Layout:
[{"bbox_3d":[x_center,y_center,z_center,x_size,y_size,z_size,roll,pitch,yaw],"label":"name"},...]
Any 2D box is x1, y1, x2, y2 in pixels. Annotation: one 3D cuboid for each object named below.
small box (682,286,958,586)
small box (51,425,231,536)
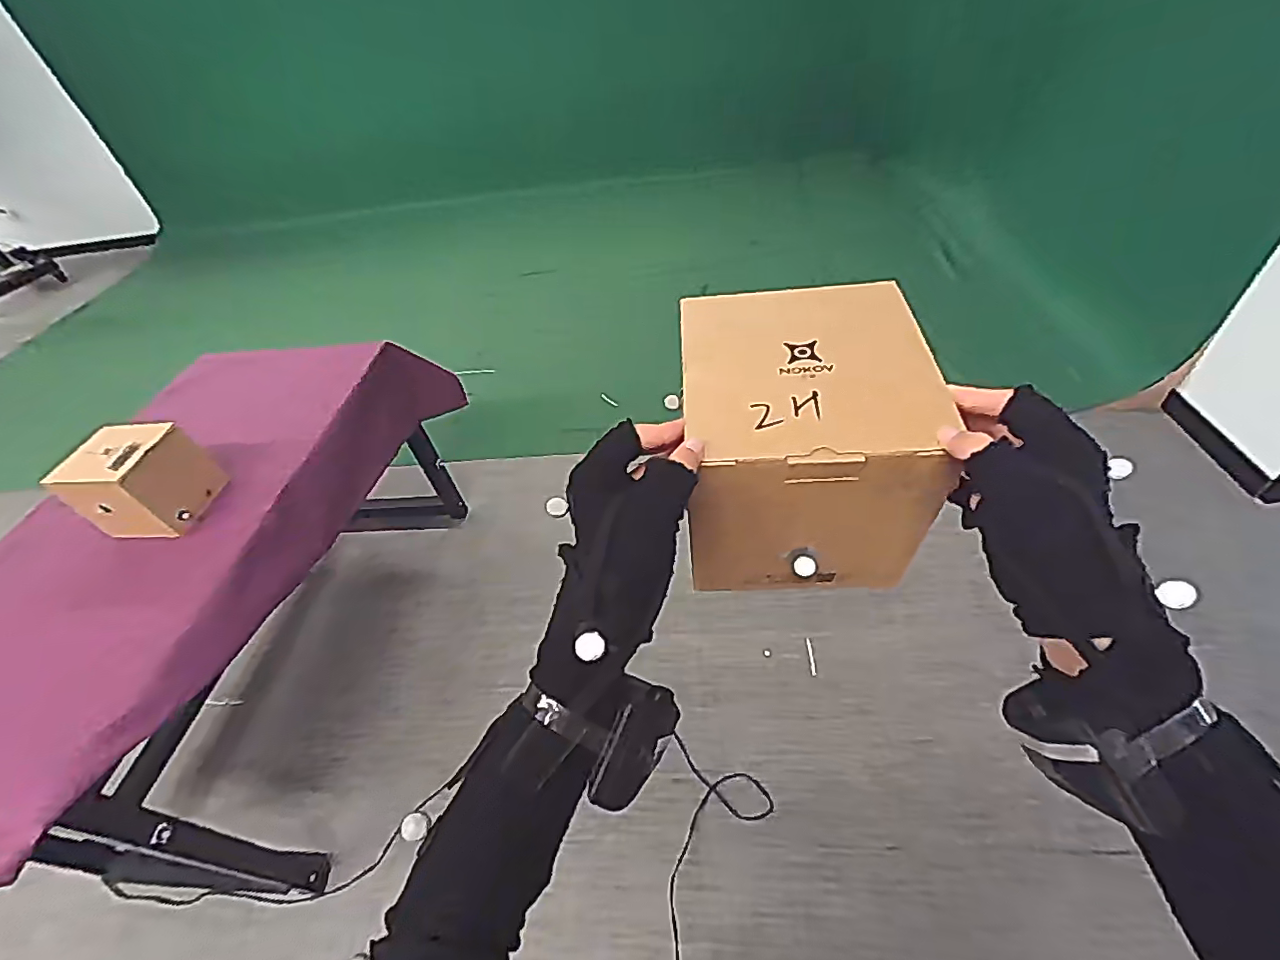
[{"bbox_3d":[0.119,-0.031,0.440,0.168,0.176,0.179,-3,52,7],"label":"small box"},{"bbox_3d":[-1.012,0.004,1.118,0.179,0.176,0.168,-2,46,9],"label":"small box"}]
